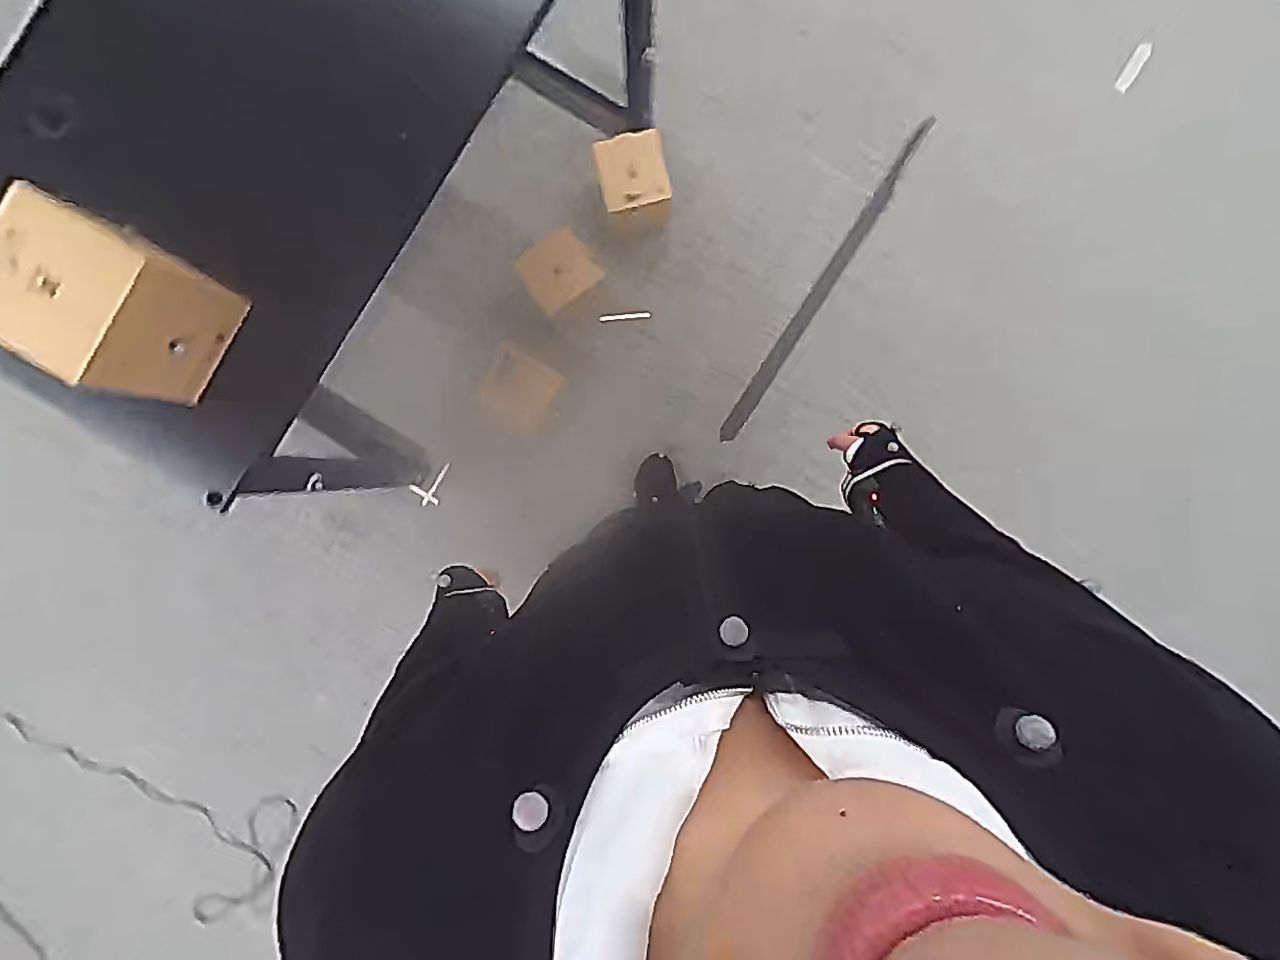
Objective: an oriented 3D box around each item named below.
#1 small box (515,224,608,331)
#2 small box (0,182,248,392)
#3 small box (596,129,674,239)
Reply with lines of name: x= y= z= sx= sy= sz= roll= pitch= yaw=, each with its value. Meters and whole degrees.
small box: x=-0.196 y=-0.521 z=1.415 sx=0.179 sy=0.176 sz=0.168 roll=-36 pitch=90 yaw=2
small box: x=-0.661 y=-0.226 z=0.689 sx=0.179 sy=0.176 sz=0.168 roll=30 pitch=90 yaw=0
small box: x=-0.014 y=-0.762 z=1.407 sx=0.168 sy=0.176 sz=0.179 roll=-14 pitch=91 yaw=1
